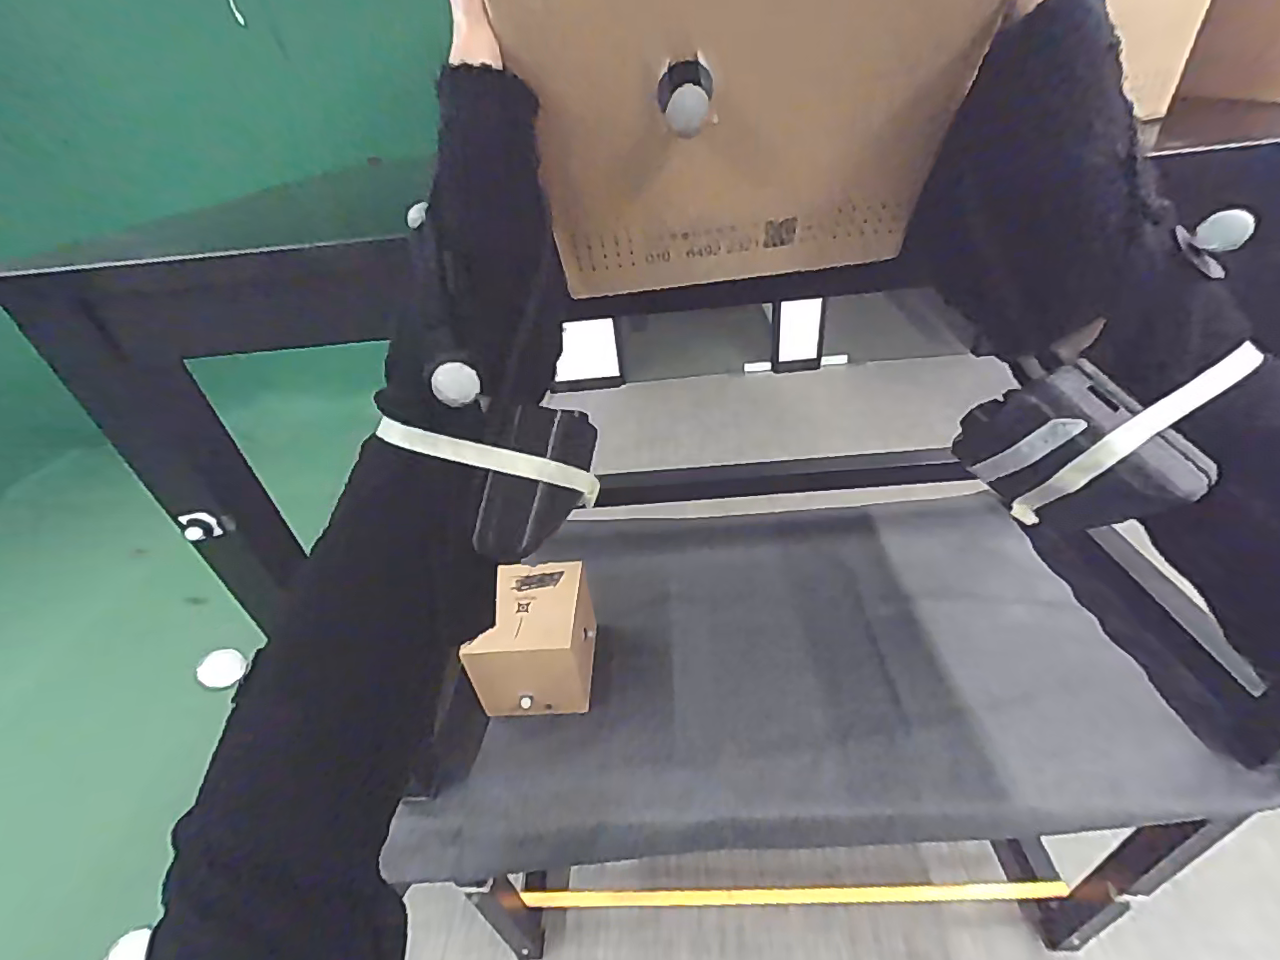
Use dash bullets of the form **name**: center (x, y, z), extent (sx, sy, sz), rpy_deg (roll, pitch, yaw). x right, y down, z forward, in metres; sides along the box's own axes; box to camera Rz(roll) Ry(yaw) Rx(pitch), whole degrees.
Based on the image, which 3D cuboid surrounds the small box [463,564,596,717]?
- **small box**: center (-0.168, 0.261, 0.887), extent (0.168, 0.176, 0.179), rpy_deg (-4, 36, 4)

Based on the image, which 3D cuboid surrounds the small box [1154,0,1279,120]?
- **small box**: center (0.511, -0.347, 0.358), extent (0.168, 0.176, 0.179), rpy_deg (3, 36, 13)

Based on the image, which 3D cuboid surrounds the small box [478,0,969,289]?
- **small box**: center (0.032, -0.207, 0.246), extent (0.168, 0.176, 0.179), rpy_deg (-6, 64, 3)
